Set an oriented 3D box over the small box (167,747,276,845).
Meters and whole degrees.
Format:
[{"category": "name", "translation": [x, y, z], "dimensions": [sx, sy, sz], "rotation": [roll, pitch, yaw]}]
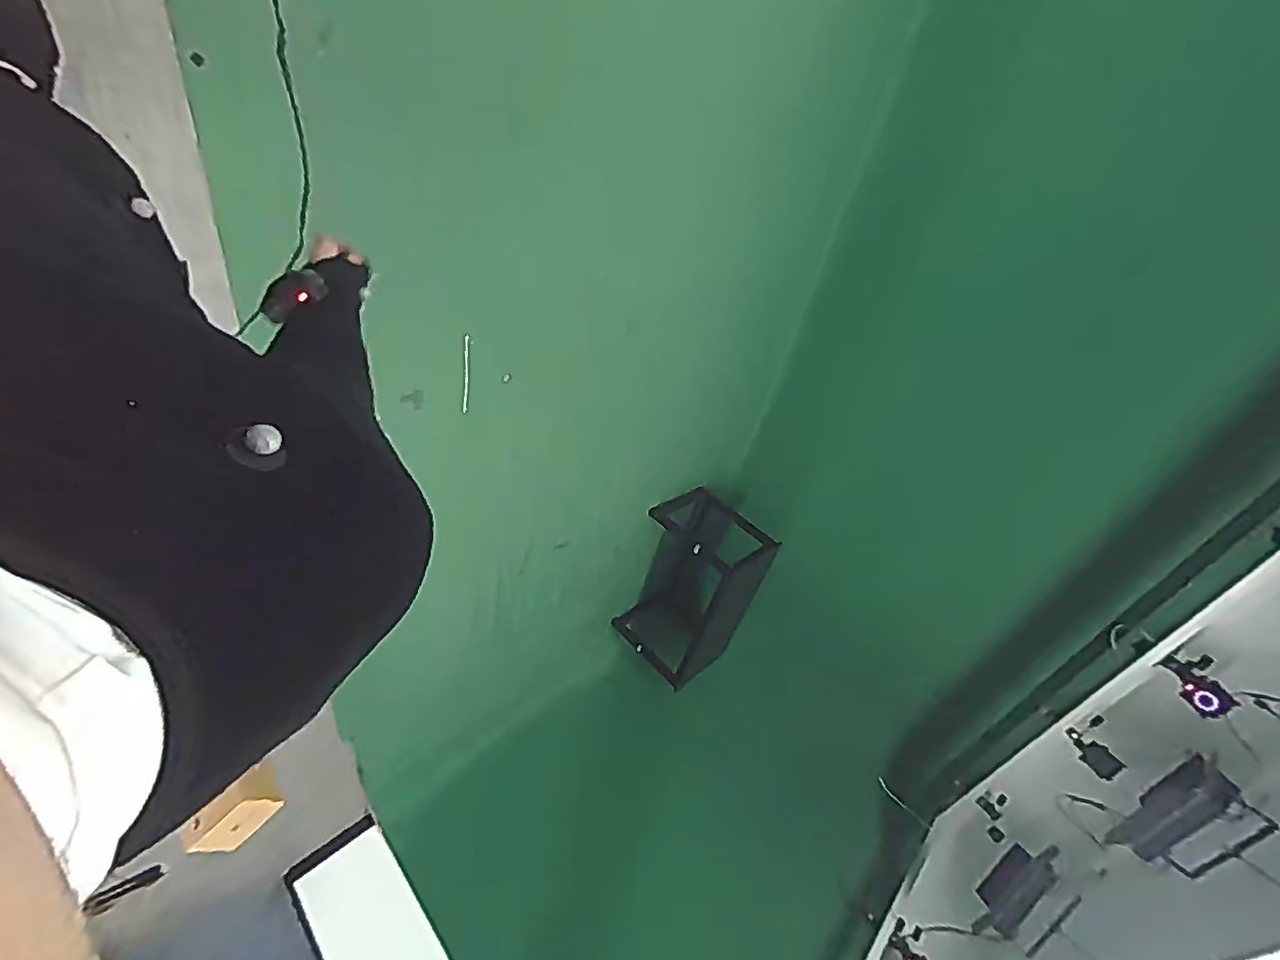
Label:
[{"category": "small box", "translation": [-1.208, 0.909, 1.557], "dimensions": [0.179, 0.176, 0.168], "rotation": [-42, 151, -17]}]
